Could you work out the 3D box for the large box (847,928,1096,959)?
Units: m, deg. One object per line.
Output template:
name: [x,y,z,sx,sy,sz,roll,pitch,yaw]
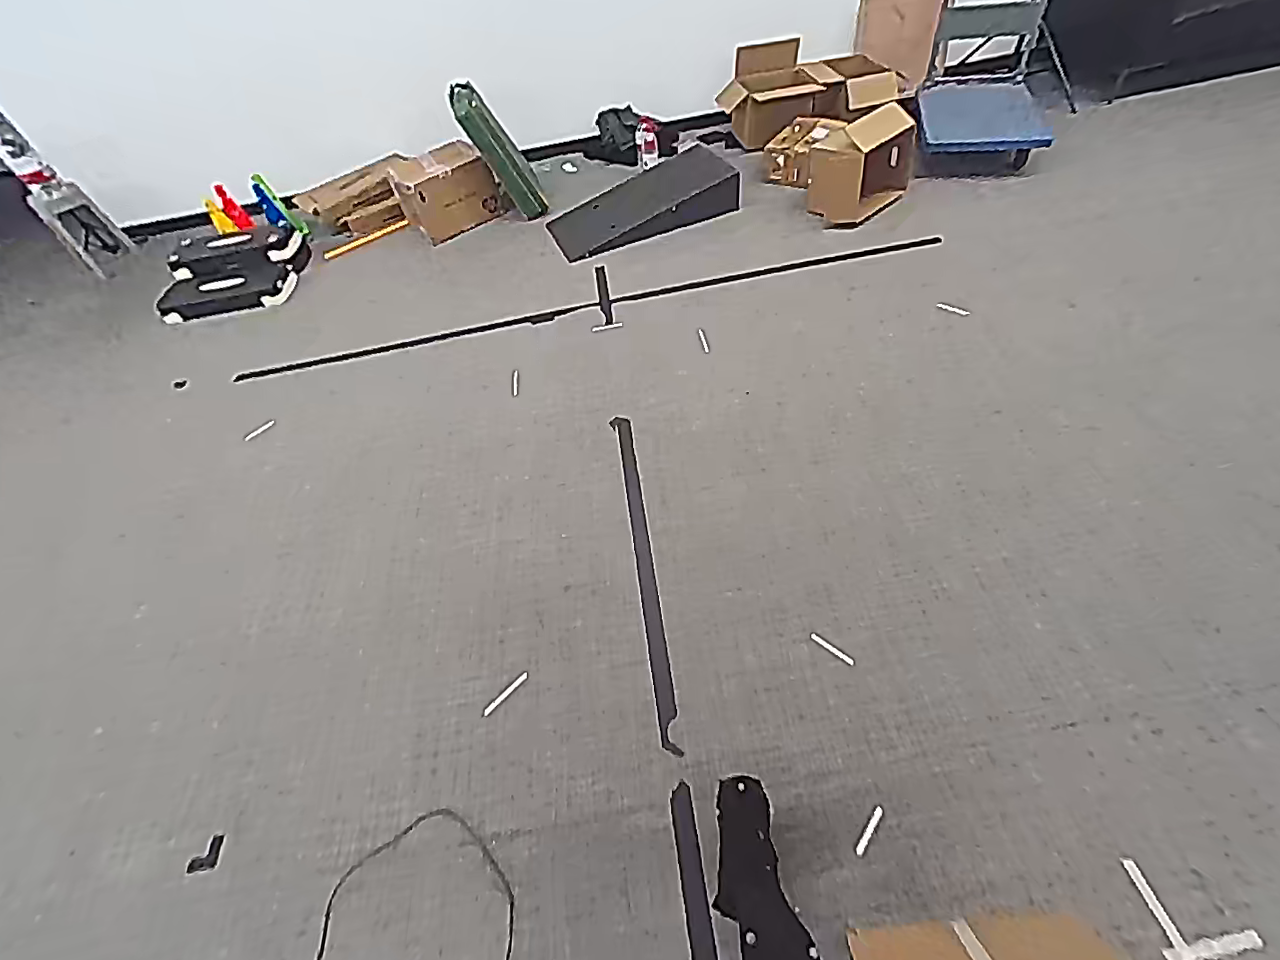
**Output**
large box: [0.451,0.770,0.555,0.320,0.408,0.320,-9,80,6]
